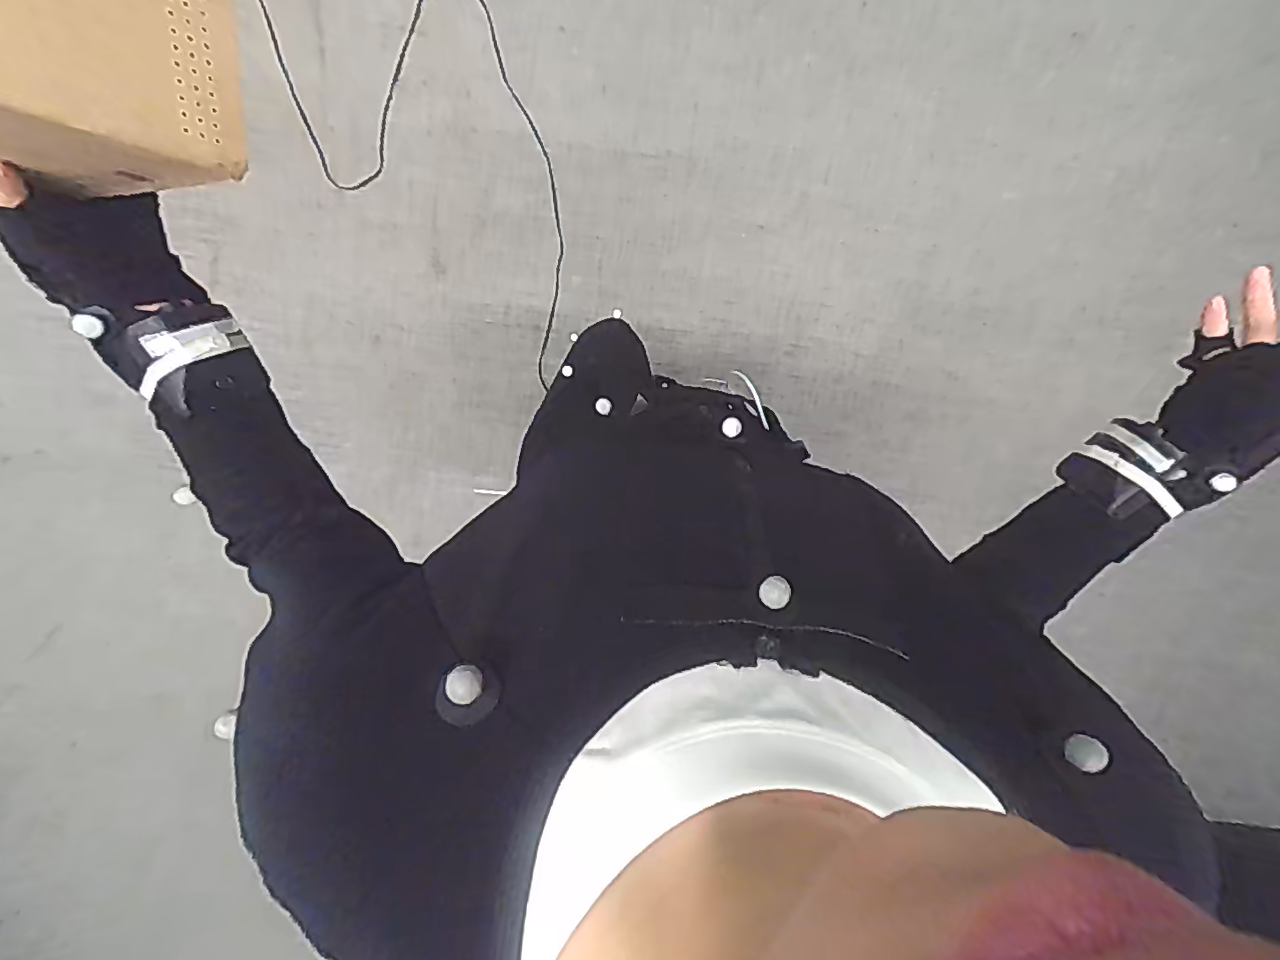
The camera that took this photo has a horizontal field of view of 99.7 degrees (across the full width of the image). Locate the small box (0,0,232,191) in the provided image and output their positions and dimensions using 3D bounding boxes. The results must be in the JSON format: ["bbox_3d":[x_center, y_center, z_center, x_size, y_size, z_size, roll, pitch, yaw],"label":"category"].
[{"bbox_3d":[-0.289,-0.226,0.193,0.168,0.176,0.179,9,104,21],"label":"small box"}]
